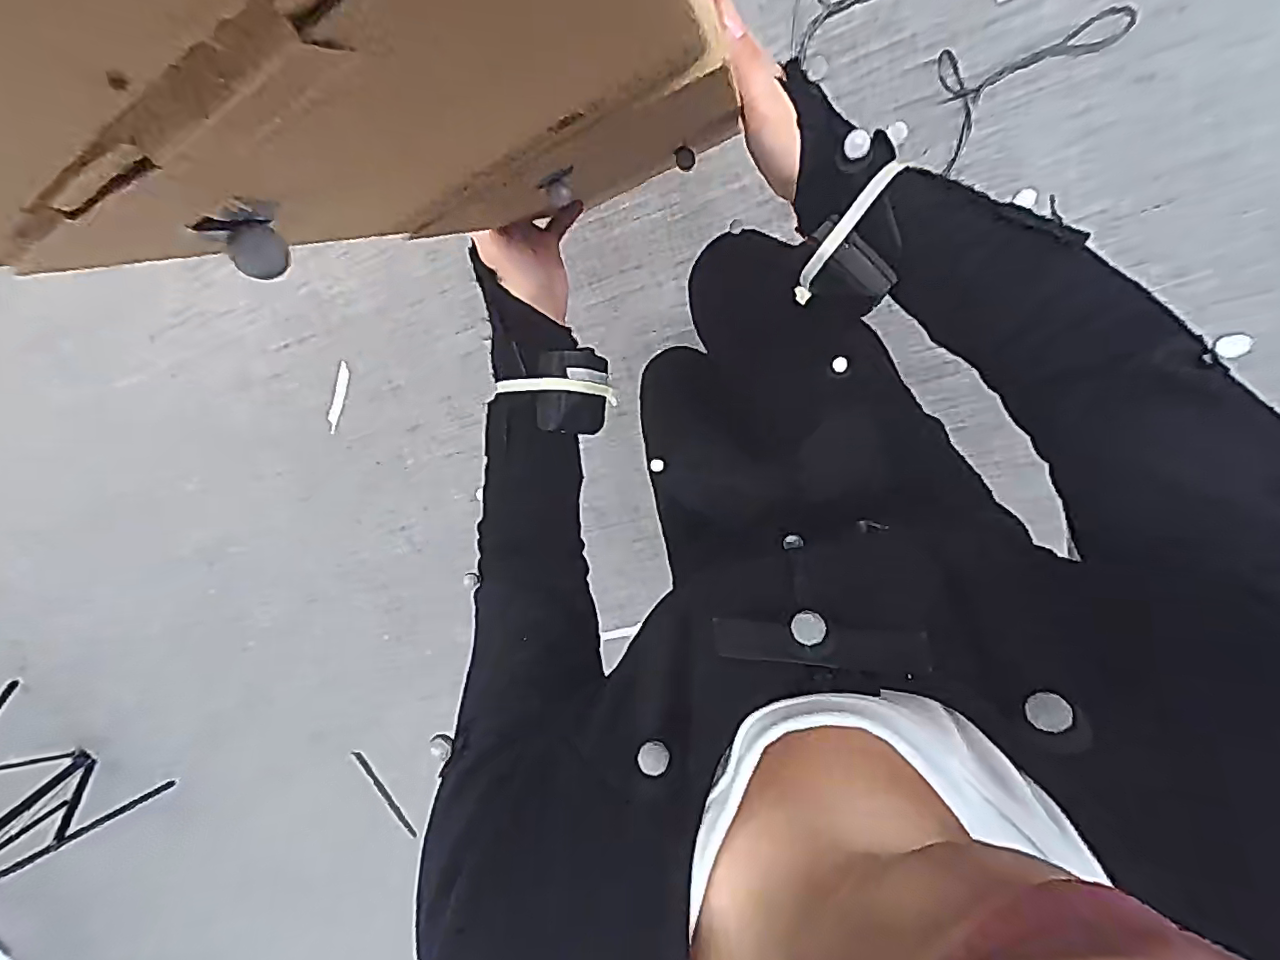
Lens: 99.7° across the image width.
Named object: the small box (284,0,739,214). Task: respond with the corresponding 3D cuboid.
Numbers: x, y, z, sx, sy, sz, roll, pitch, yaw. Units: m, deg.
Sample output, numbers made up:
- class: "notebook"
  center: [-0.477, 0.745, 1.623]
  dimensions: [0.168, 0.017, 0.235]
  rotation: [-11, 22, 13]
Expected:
- class: "small box"
  center: [-0.056, -0.256, 0.277]
  dimensions: [0.179, 0.176, 0.168]
  rotation: [-17, 114, 19]
